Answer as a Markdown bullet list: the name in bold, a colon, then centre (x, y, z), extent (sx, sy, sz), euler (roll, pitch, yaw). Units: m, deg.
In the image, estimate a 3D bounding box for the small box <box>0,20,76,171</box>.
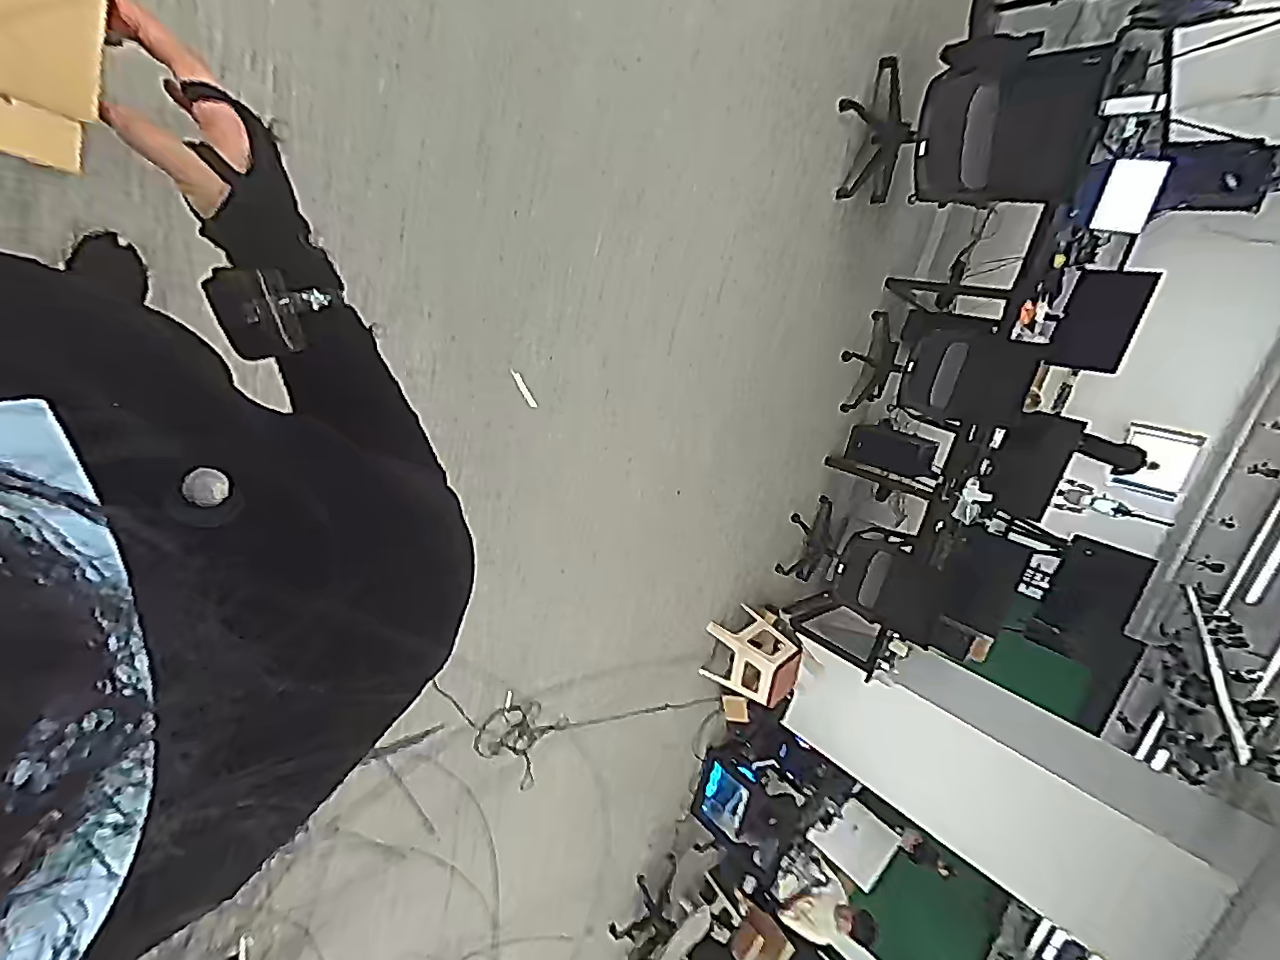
- **small box**: centre (-0.994, -0.601, 0.833), extent (0.168, 0.176, 0.179), euler (2, 107, -48)
